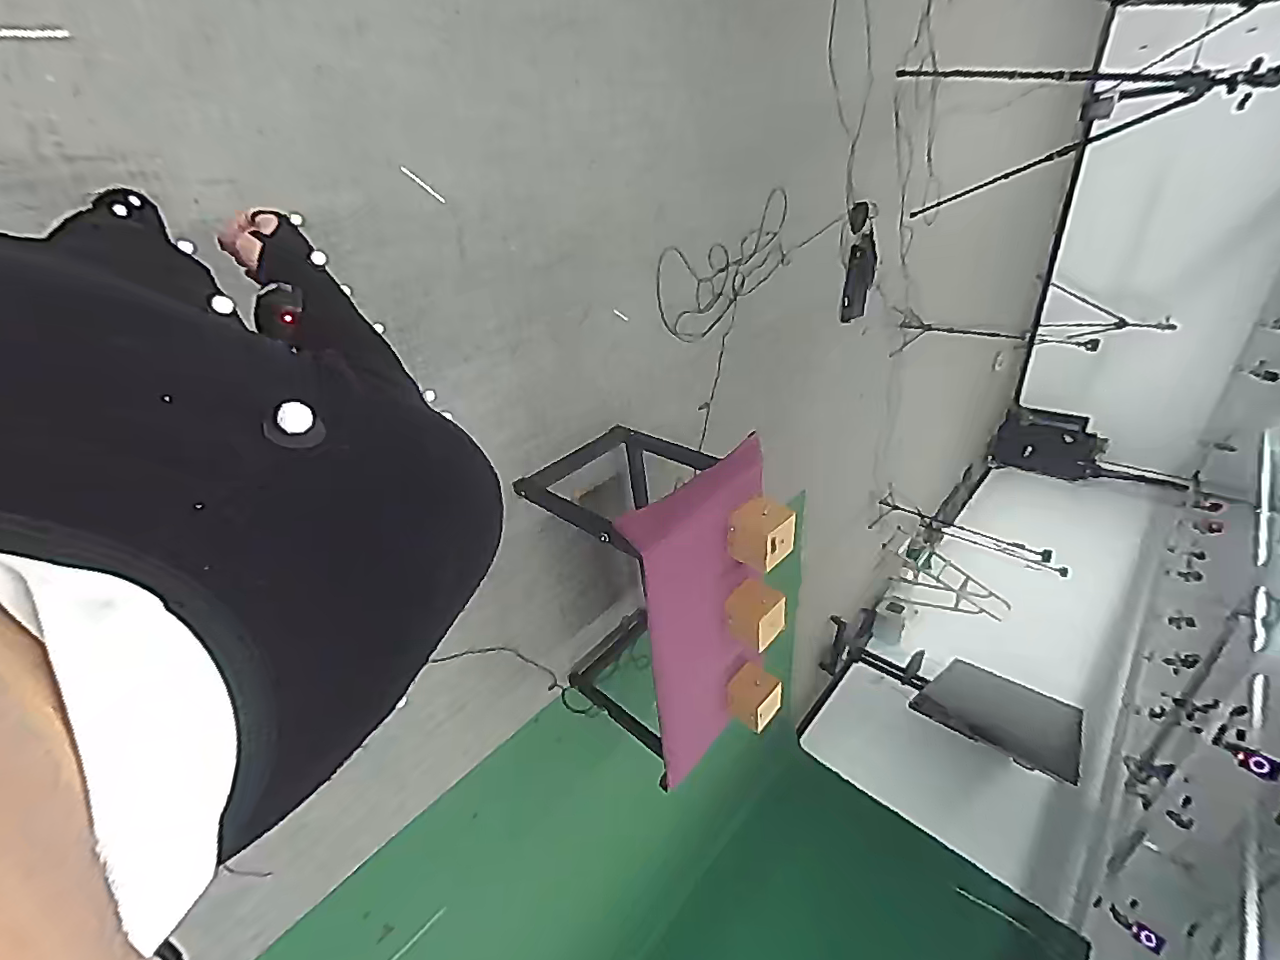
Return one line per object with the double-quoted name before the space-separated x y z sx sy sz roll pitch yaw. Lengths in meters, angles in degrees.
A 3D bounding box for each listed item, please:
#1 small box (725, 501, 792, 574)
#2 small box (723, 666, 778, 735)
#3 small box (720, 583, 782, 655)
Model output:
"small box" 0.413 0.197 1.903 0.179 0.176 0.168 -30 128 -36
"small box" 0.470 0.934 2.303 0.179 0.176 0.168 -34 129 -36
"small box" 0.426 0.525 2.071 0.179 0.176 0.168 -32 128 -36
